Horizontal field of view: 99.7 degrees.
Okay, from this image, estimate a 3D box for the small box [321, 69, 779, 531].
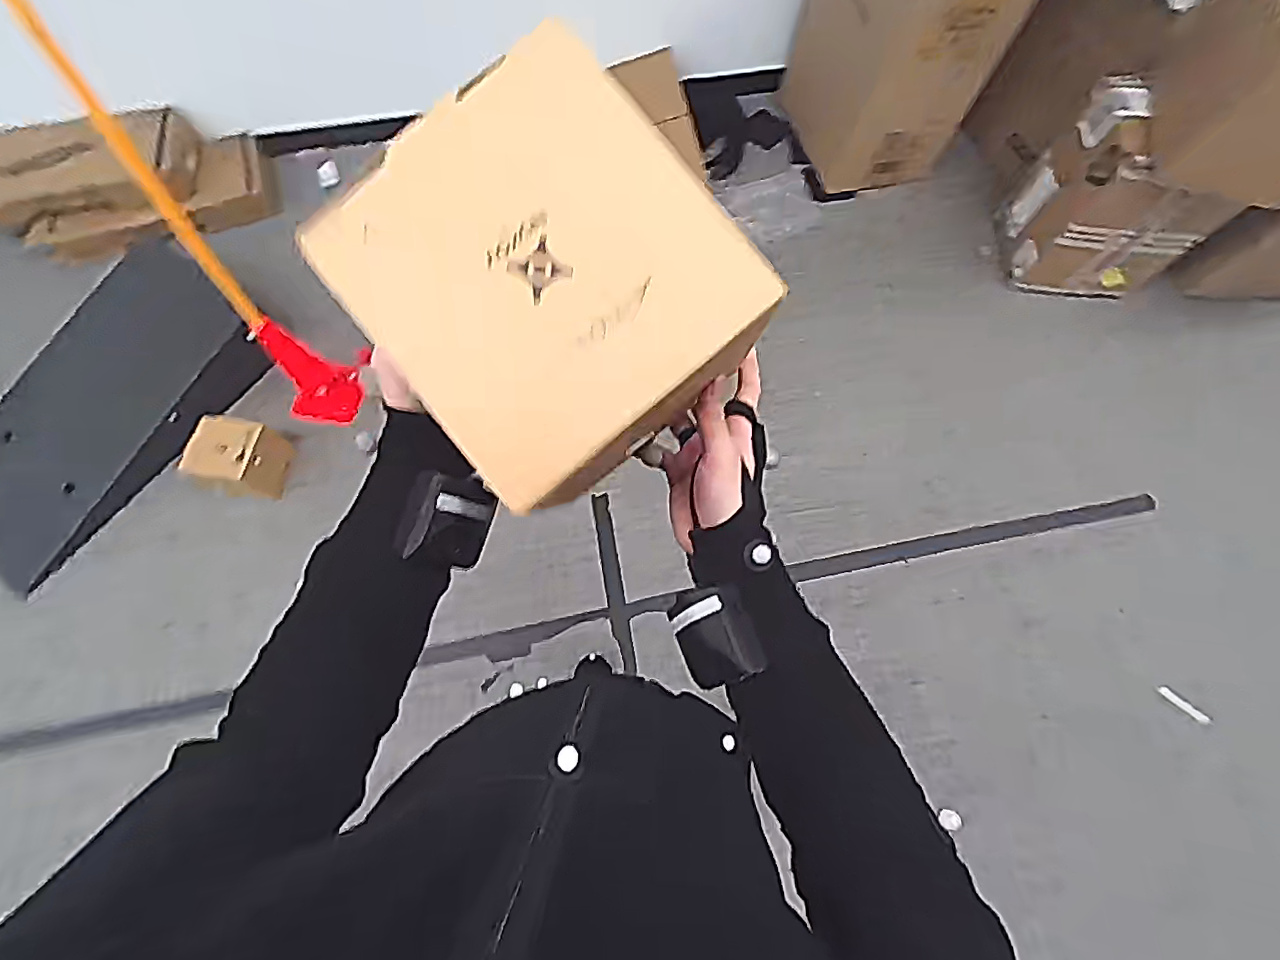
[{"bbox_3d":[-0.044,-0.088,0.347,0.168,0.176,0.179,-40,89,3],"label":"small box"}]
